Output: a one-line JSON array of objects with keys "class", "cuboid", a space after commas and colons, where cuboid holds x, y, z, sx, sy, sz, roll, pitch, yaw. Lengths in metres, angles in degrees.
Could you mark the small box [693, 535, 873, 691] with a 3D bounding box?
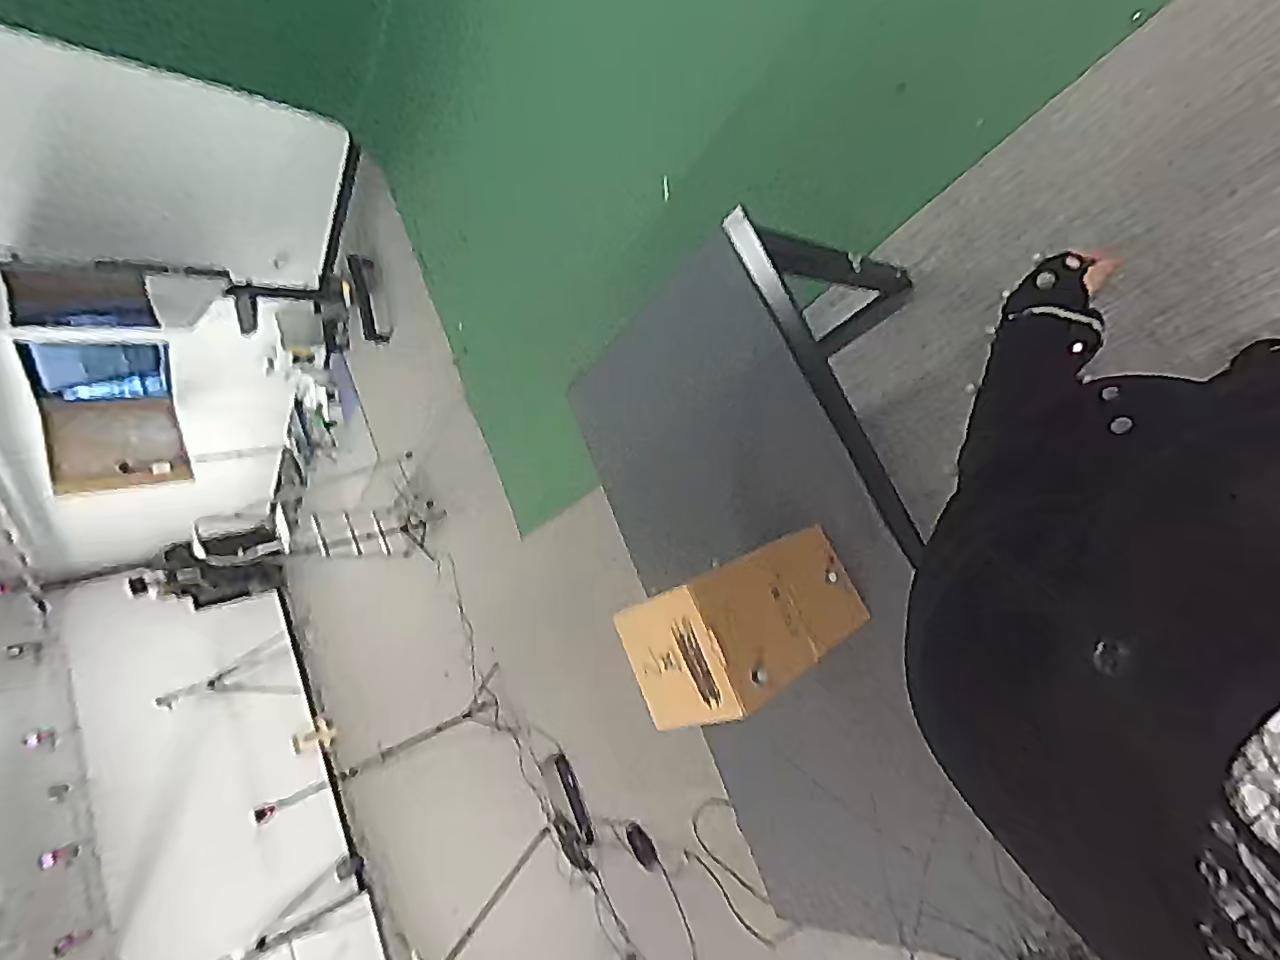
[{"class": "small box", "cuboid": [0.222, 0.205, 0.846, 0.179, 0.176, 0.168, -41, 69, 44]}]
